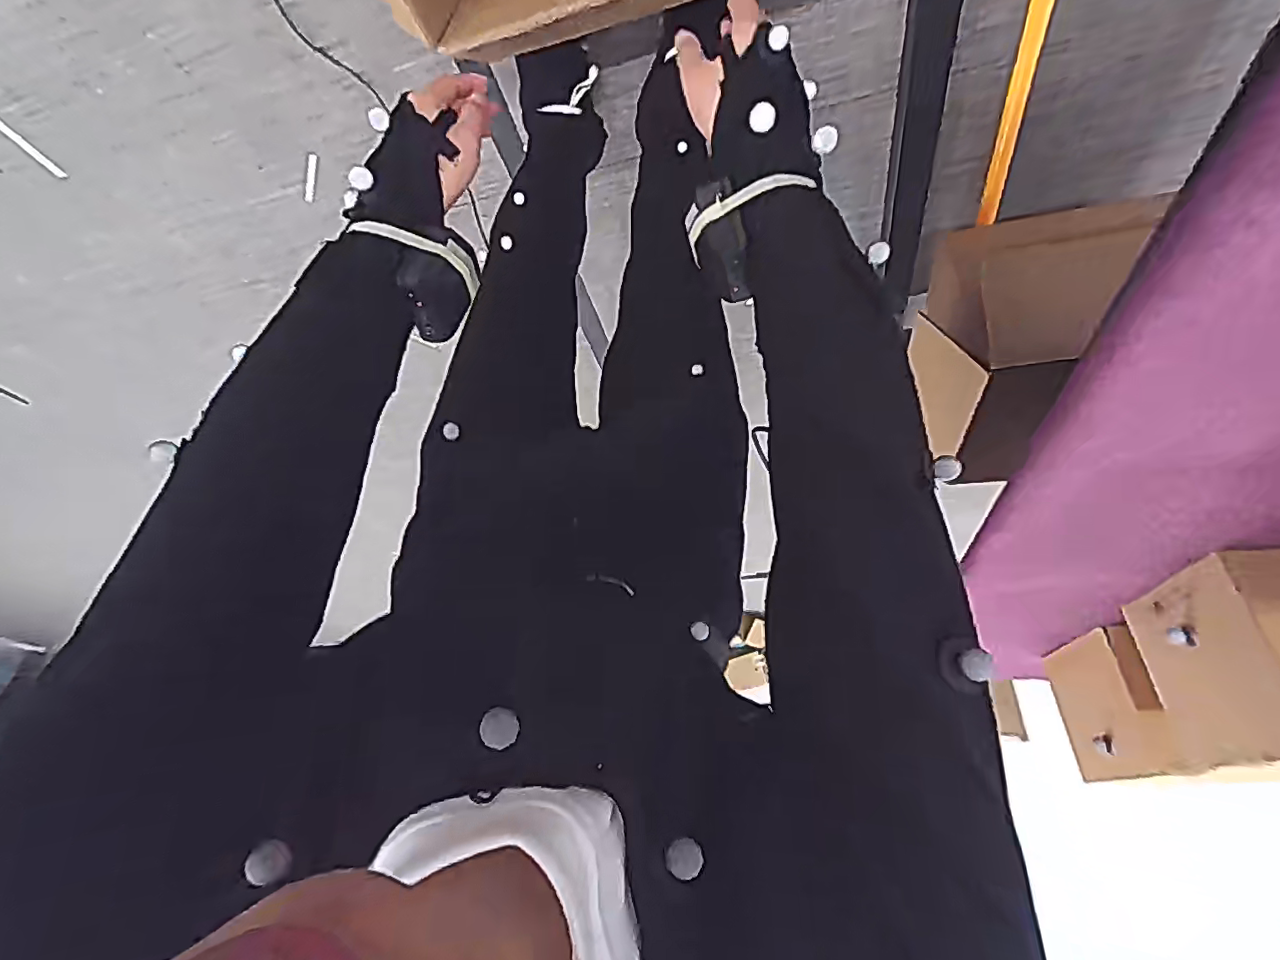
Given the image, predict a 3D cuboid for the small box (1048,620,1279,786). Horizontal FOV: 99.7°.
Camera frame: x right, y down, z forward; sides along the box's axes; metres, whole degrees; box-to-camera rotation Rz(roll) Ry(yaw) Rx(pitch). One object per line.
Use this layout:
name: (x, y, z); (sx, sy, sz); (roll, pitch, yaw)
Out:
small box: (0.660, 0.284, 0.683); (0.168, 0.176, 0.179); (-4, 148, 10)

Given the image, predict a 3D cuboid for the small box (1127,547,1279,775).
small box: (0.605, 0.164, 0.482); (0.179, 0.176, 0.168); (-4, 148, 12)
